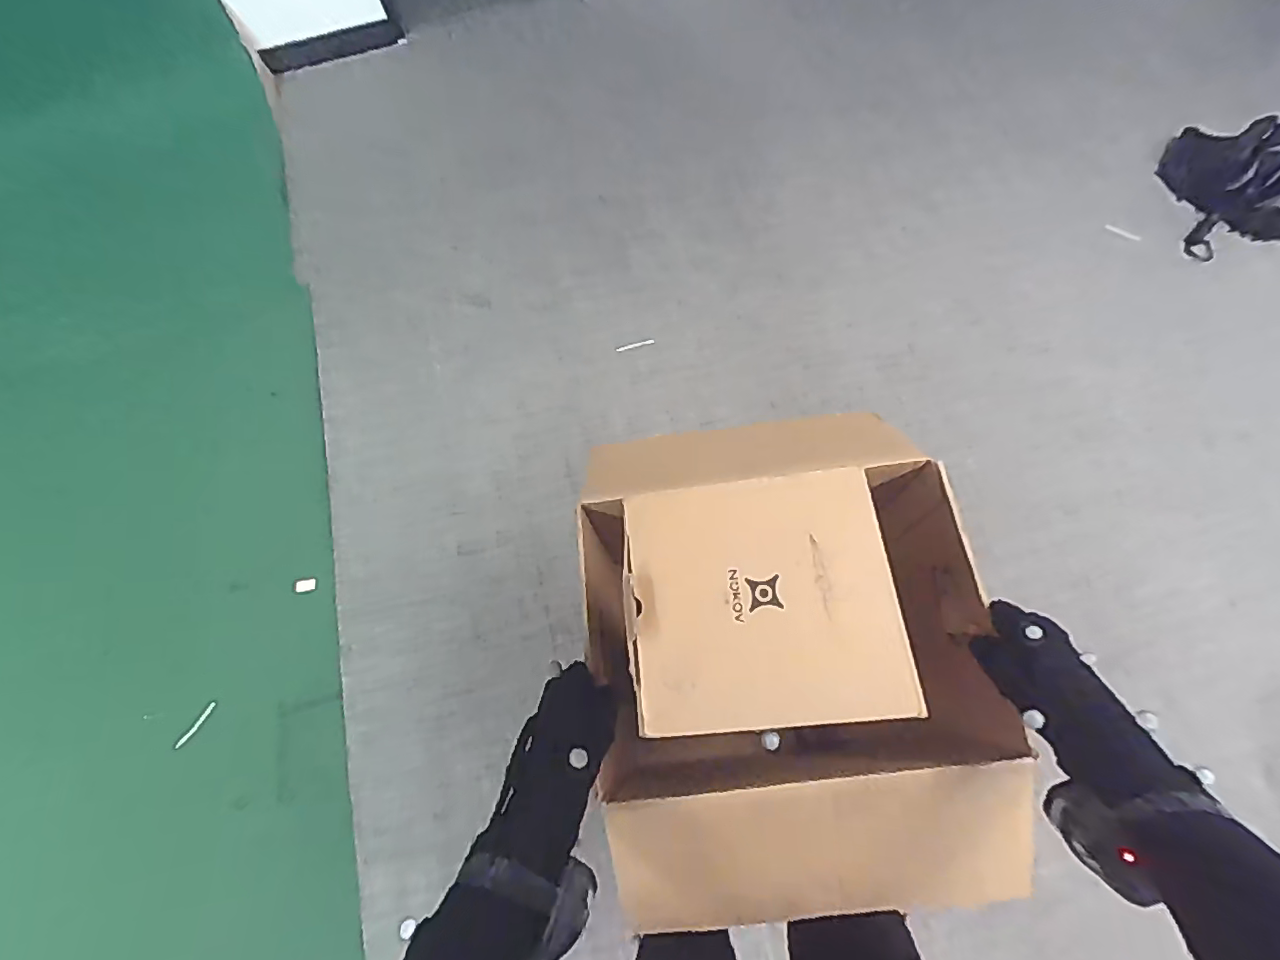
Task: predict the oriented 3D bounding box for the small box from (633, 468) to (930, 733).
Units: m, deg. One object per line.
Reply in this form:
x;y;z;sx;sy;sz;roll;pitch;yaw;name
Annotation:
0.098;0.106;0.443;0.179;0.176;0.168;-8;69;4;small box
